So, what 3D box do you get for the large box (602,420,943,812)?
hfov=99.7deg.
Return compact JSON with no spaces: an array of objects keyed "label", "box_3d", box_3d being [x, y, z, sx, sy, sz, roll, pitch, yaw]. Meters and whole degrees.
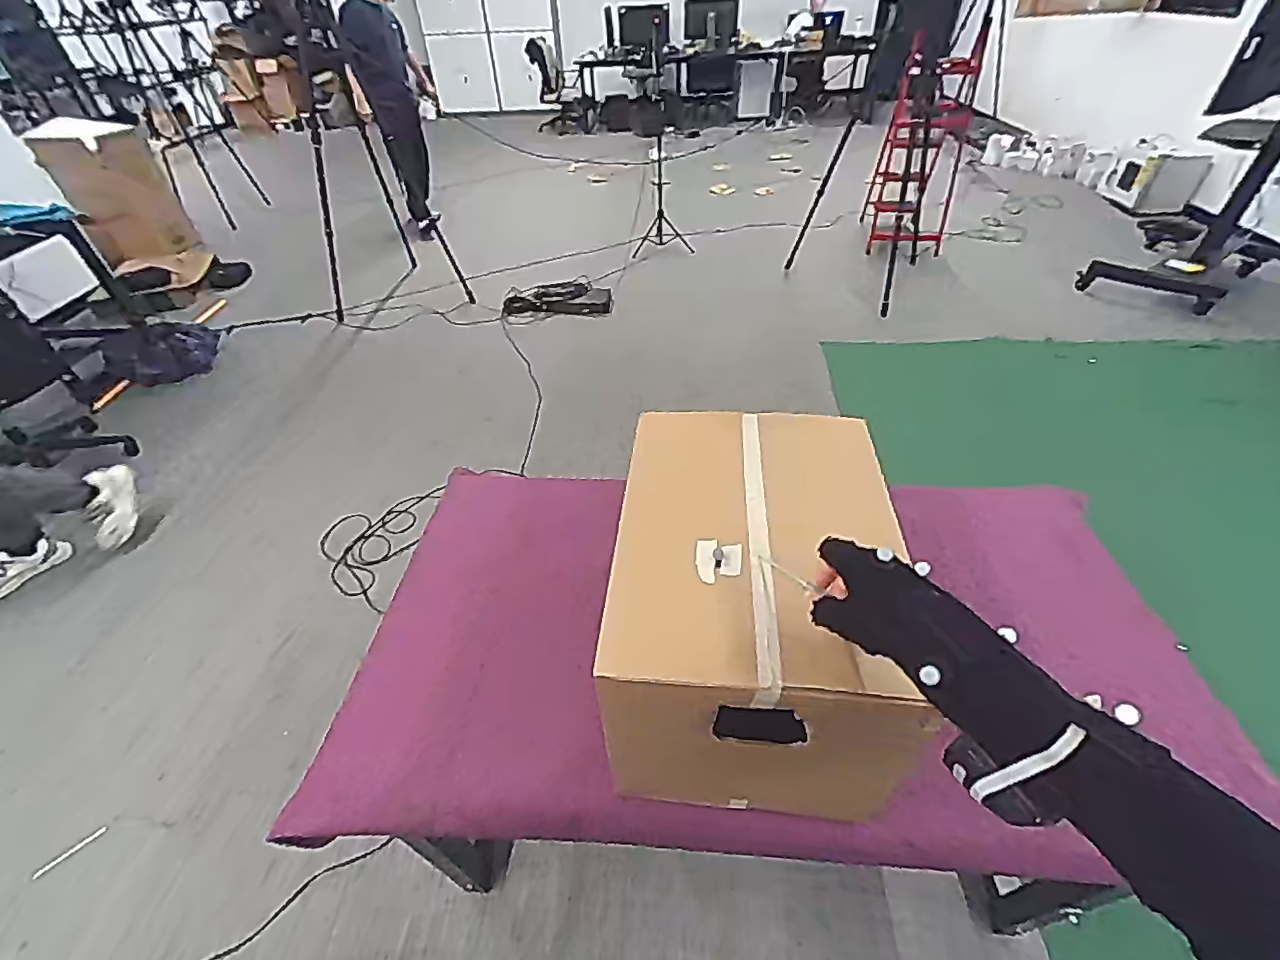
[{"label":"large box","box_3d":[0.137,0.166,0.731,0.320,0.320,0.408,3,44,6]}]
